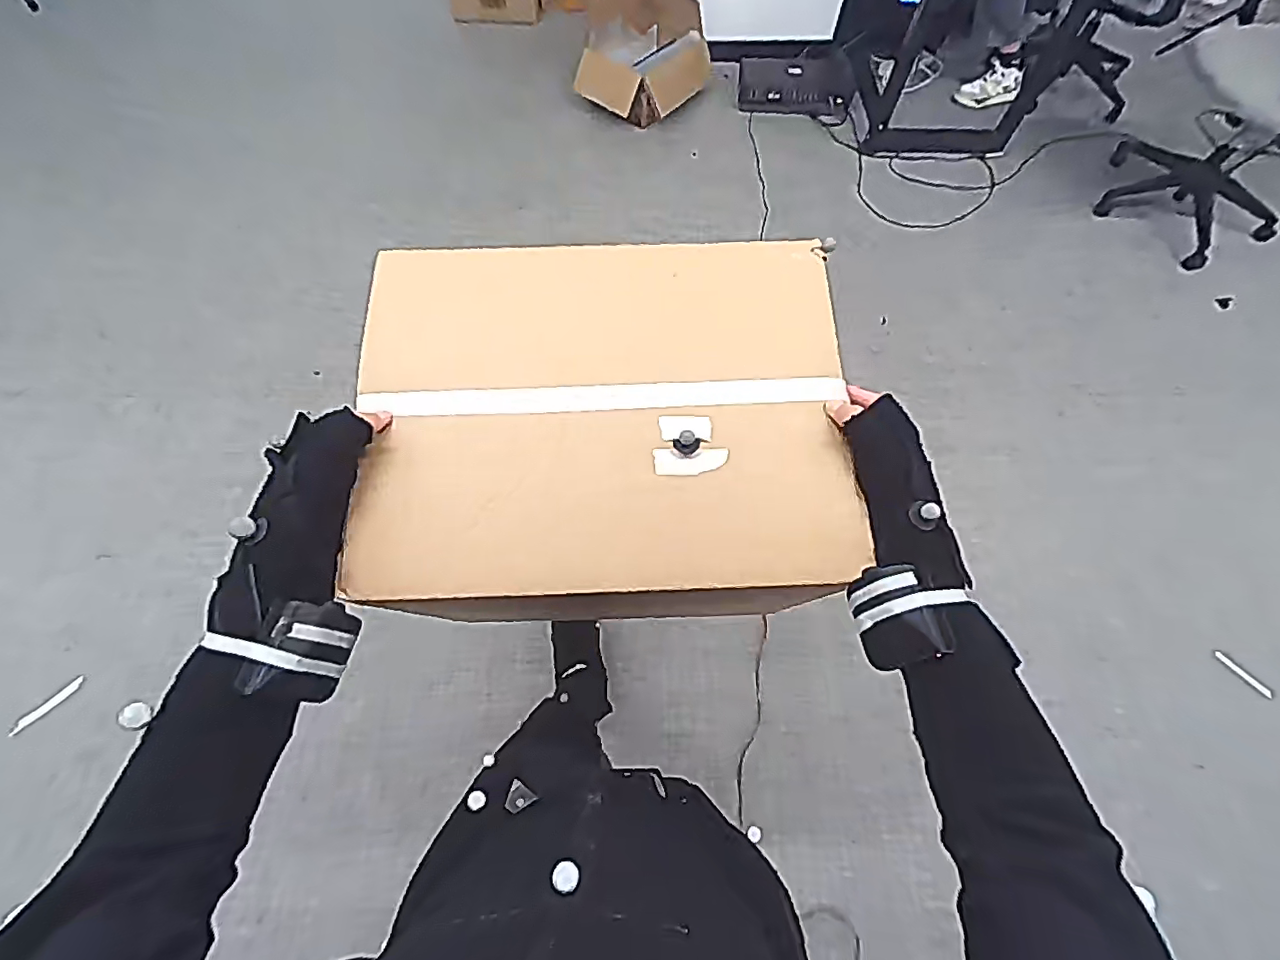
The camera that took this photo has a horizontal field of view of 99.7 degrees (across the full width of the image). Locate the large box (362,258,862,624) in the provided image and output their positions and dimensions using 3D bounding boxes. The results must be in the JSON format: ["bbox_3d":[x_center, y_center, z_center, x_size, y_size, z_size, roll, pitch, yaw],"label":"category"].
[{"bbox_3d":[-0.029,-0.015,0.612,0.408,0.320,0.320,-2,72,-1],"label":"large box"}]
